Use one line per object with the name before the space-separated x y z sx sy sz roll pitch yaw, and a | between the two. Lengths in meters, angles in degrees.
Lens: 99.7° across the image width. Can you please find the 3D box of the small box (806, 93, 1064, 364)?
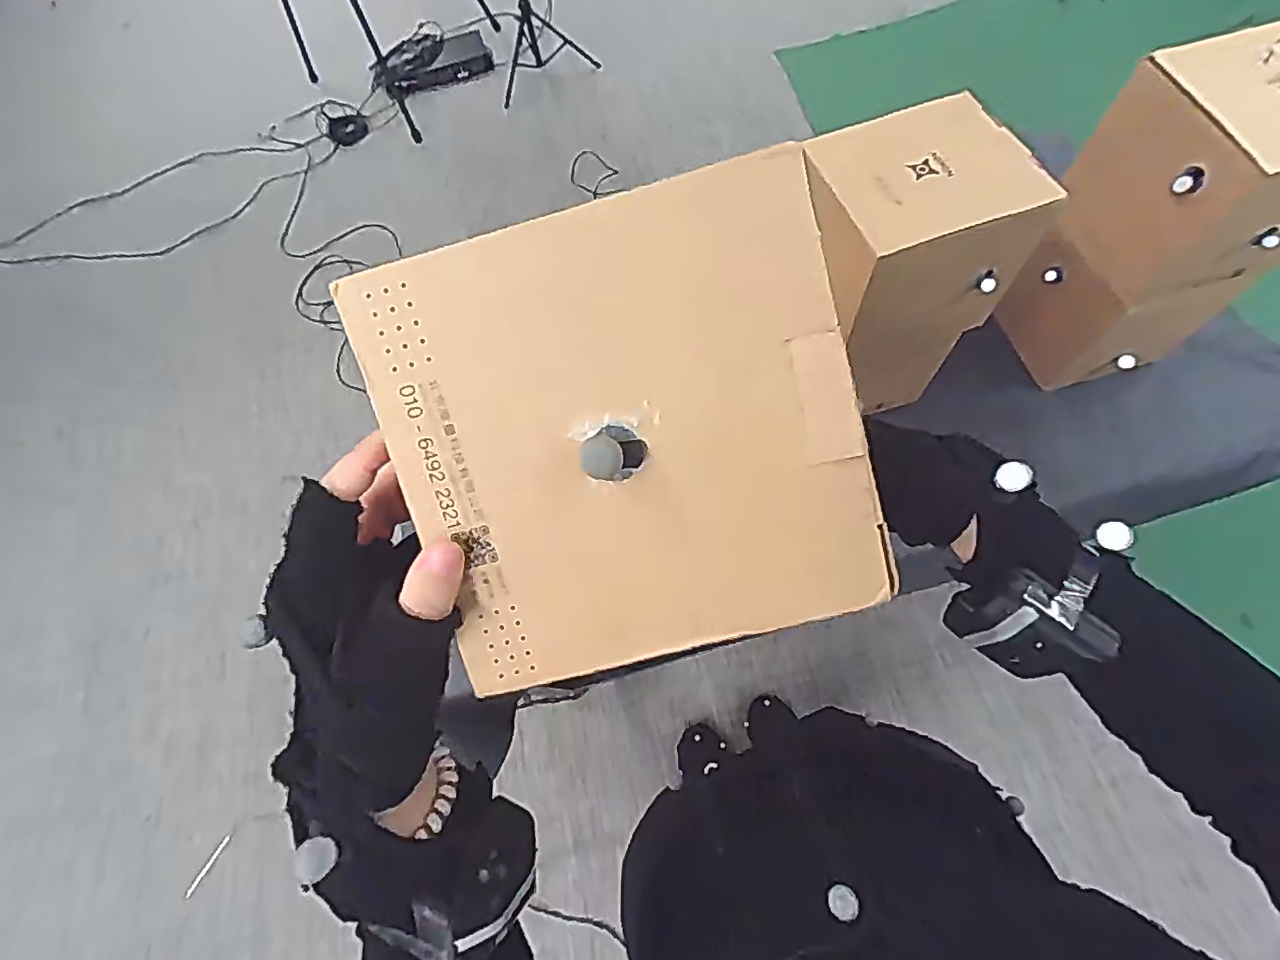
small box | 0.272 -0.252 0.569 0.179 0.176 0.168 -18 65 0

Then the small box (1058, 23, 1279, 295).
small box | 0.586 -0.314 0.554 0.168 0.176 0.179 -13 66 1

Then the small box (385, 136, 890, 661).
small box | -0.003 -0.032 0.279 0.176 0.179 0.168 -14 100 5
